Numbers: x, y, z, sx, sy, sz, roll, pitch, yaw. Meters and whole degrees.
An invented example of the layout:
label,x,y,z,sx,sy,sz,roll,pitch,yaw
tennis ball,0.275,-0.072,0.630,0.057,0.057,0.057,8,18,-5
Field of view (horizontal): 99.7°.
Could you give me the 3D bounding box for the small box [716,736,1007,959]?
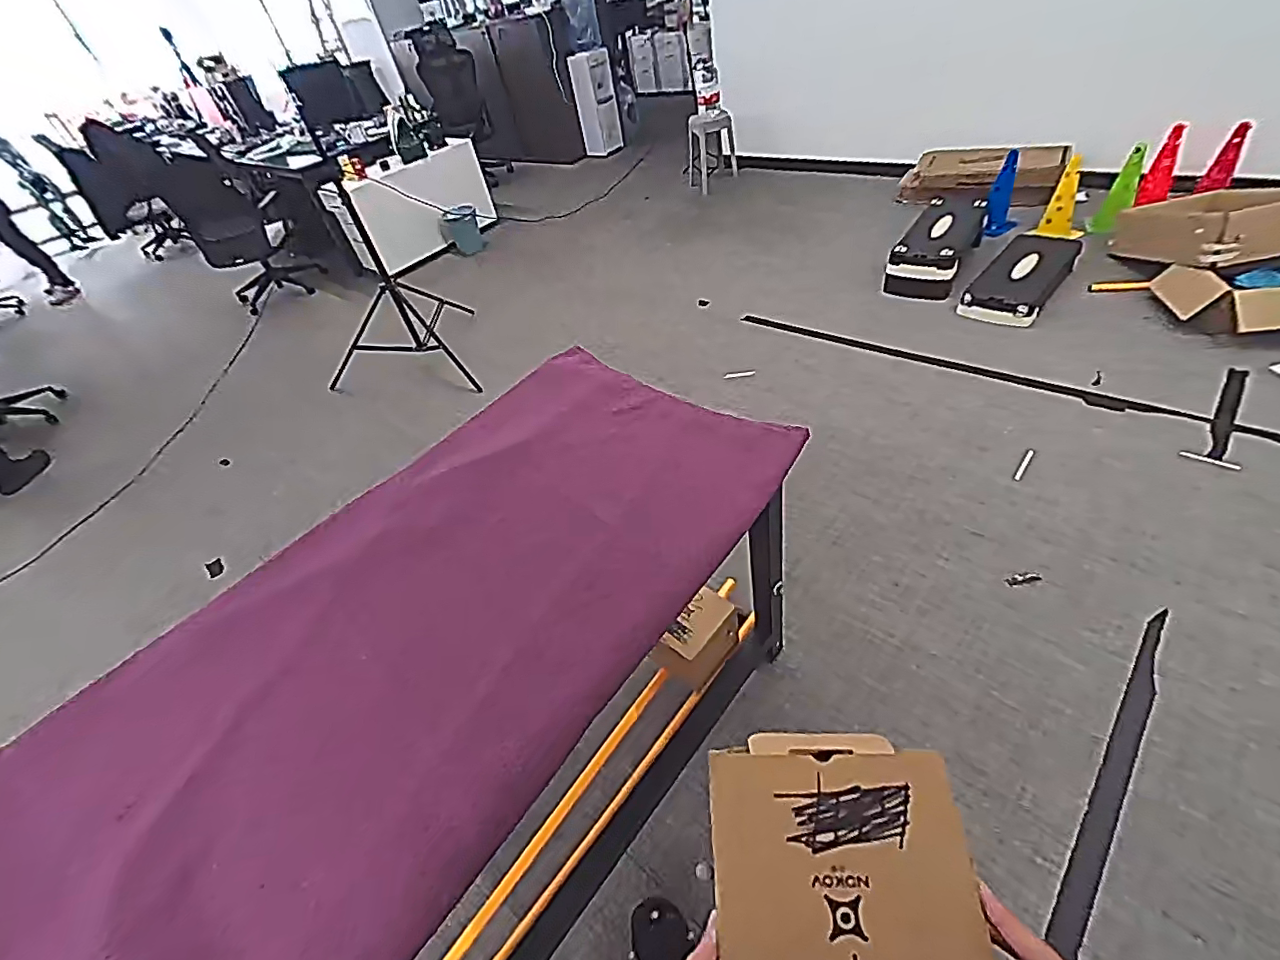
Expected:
label,x,y,z,sx,sy,sz,roll,pitch,yaw
small box,0.144,0.304,0.408,0.168,0.176,0.179,-3,55,7
